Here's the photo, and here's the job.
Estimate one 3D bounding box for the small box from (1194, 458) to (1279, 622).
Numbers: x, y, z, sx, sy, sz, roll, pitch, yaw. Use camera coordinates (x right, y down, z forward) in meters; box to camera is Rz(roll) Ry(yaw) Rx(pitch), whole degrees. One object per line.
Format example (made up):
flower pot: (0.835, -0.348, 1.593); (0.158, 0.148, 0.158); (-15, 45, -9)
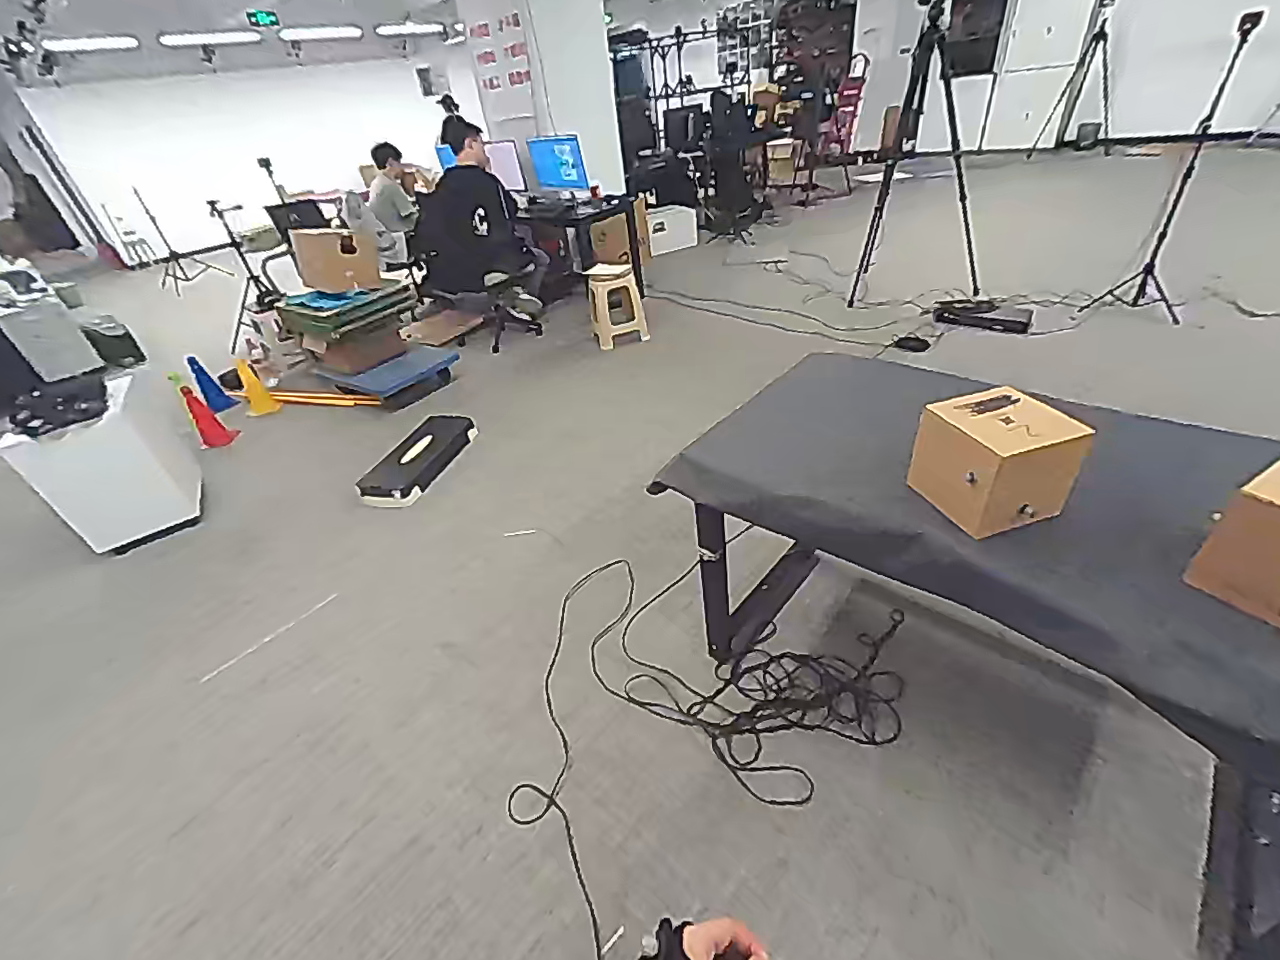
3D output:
small box: (0.876, 0.081, 0.692); (0.179, 0.176, 0.168); (-22, 38, -20)
